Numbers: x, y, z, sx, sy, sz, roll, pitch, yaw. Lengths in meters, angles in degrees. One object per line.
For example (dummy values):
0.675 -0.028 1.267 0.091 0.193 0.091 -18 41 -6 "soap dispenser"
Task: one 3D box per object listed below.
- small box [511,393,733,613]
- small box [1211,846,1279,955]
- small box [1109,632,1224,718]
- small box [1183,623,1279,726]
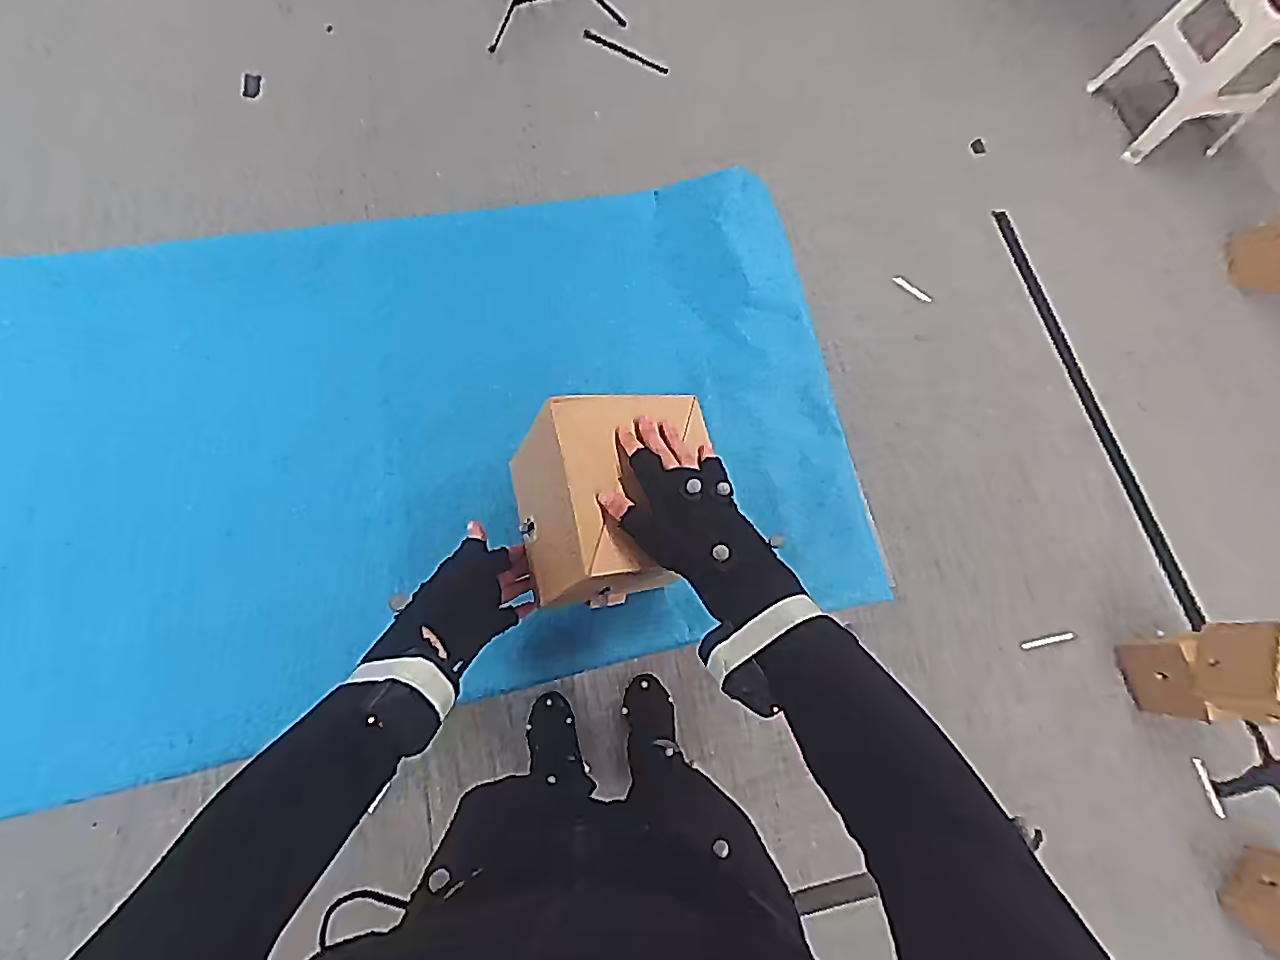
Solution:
-0.025 0.026 0.581 0.168 0.176 0.179 -5 70 -31 "small box"
1.478 0.973 1.223 0.168 0.176 0.179 -40 80 -13 "small box"
1.349 0.481 1.358 0.168 0.176 0.179 -8 73 -8 "small box"
1.376 0.431 1.199 0.168 0.176 0.179 26 72 2 "small box"
